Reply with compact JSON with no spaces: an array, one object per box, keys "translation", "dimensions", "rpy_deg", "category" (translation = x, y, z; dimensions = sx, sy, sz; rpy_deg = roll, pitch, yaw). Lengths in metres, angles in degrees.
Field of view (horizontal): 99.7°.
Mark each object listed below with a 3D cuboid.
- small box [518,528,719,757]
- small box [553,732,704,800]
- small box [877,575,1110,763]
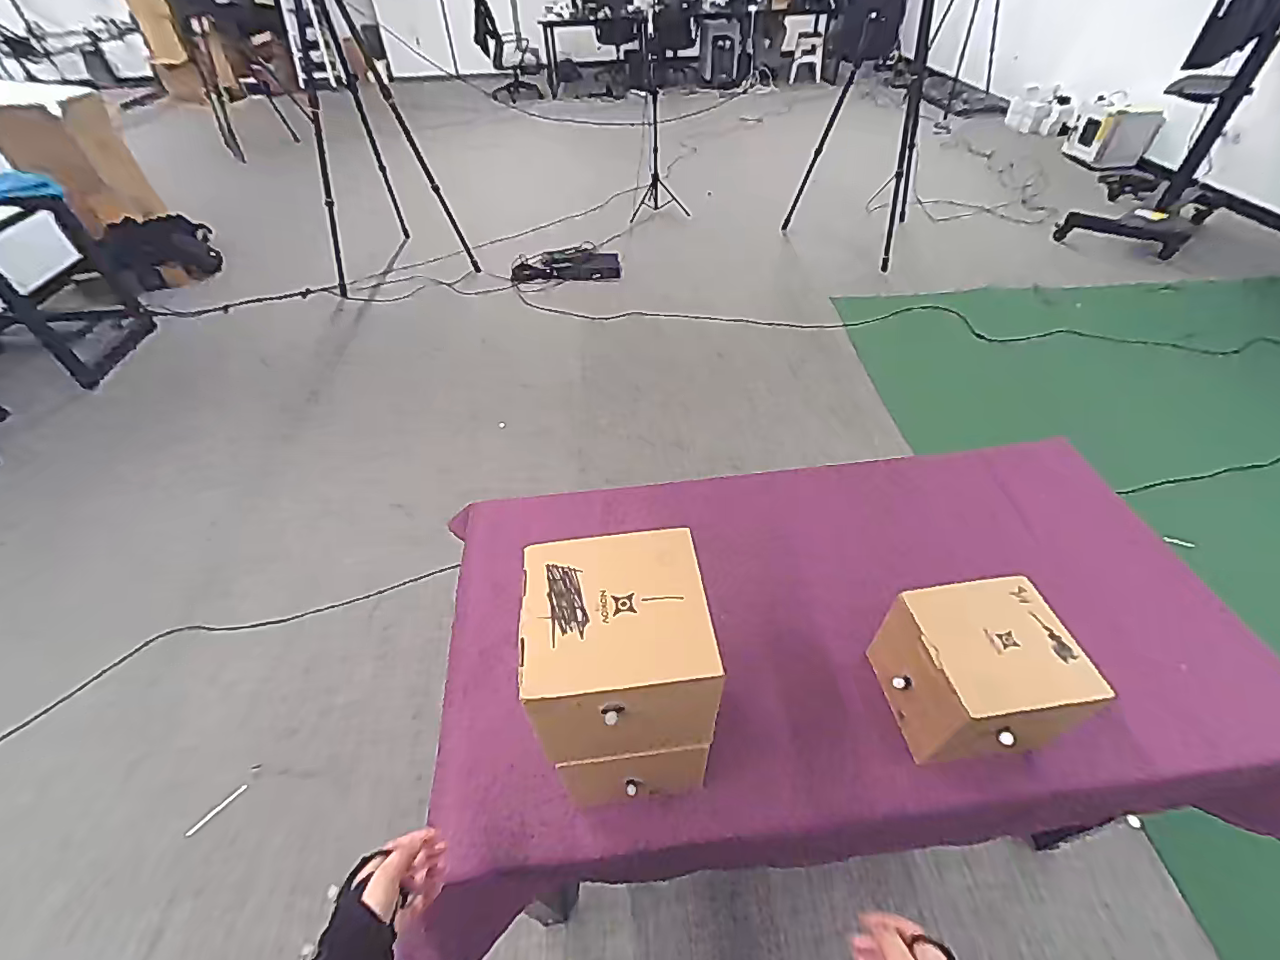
[{"translation":[-0.022,0.173,0.568],"dimensions":[0.179,0.176,0.168],"rpy_deg":[-6,46,-4],"category":"small box"},{"translation":[-0.016,0.287,0.686],"dimensions":[0.168,0.176,0.179],"rpy_deg":[-5,45,-3],"category":"small box"},{"translation":[0.430,0.249,0.703],"dimensions":[0.179,0.176,0.168],"rpy_deg":[-7,46,-3],"category":"small box"}]
